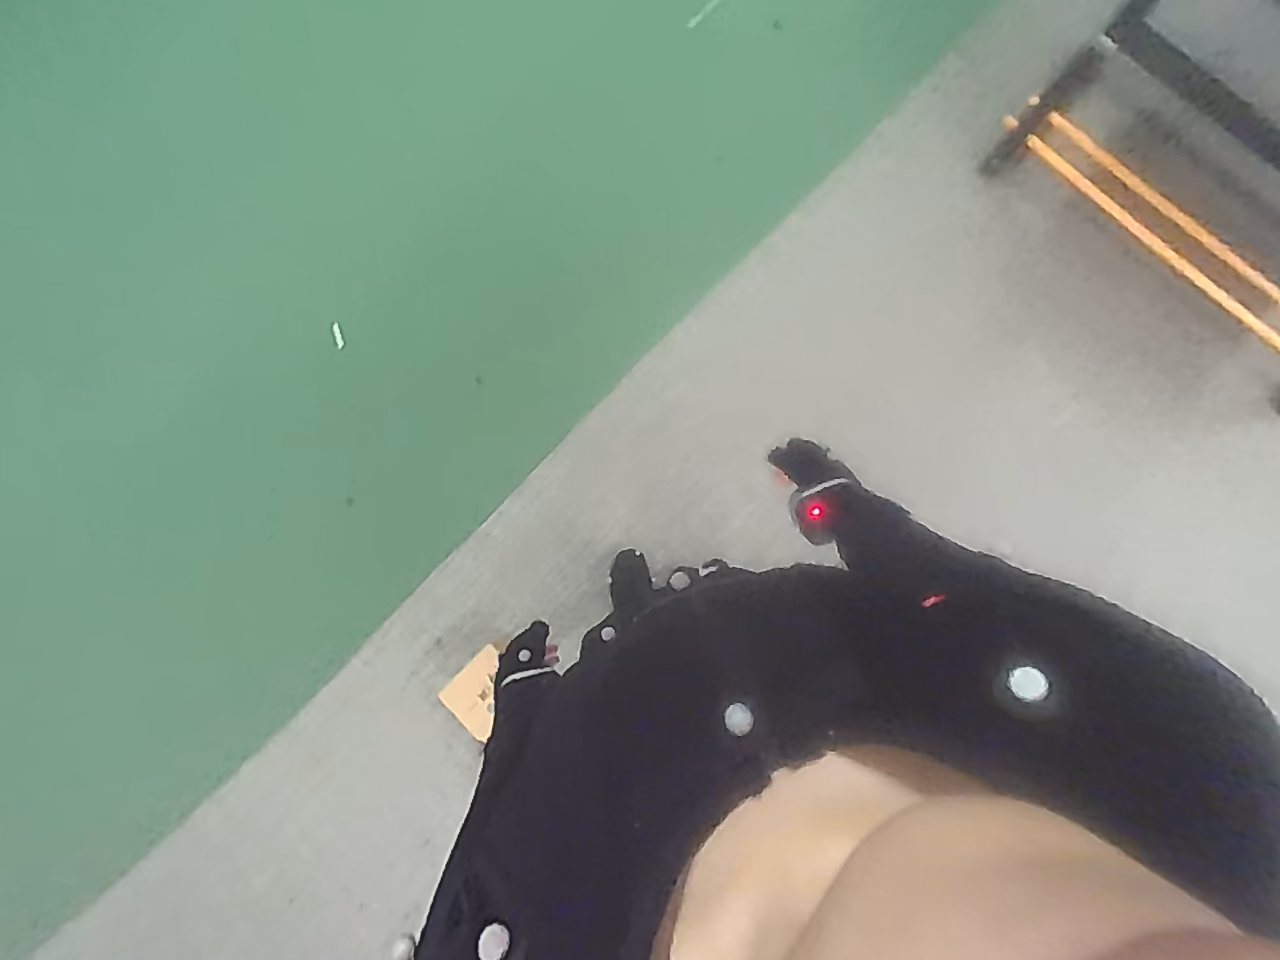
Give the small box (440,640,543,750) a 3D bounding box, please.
[{"bbox_3d":[-0.359,0.527,1.355,0.179,0.176,0.168,-45,85,-6],"label":"small box"}]
